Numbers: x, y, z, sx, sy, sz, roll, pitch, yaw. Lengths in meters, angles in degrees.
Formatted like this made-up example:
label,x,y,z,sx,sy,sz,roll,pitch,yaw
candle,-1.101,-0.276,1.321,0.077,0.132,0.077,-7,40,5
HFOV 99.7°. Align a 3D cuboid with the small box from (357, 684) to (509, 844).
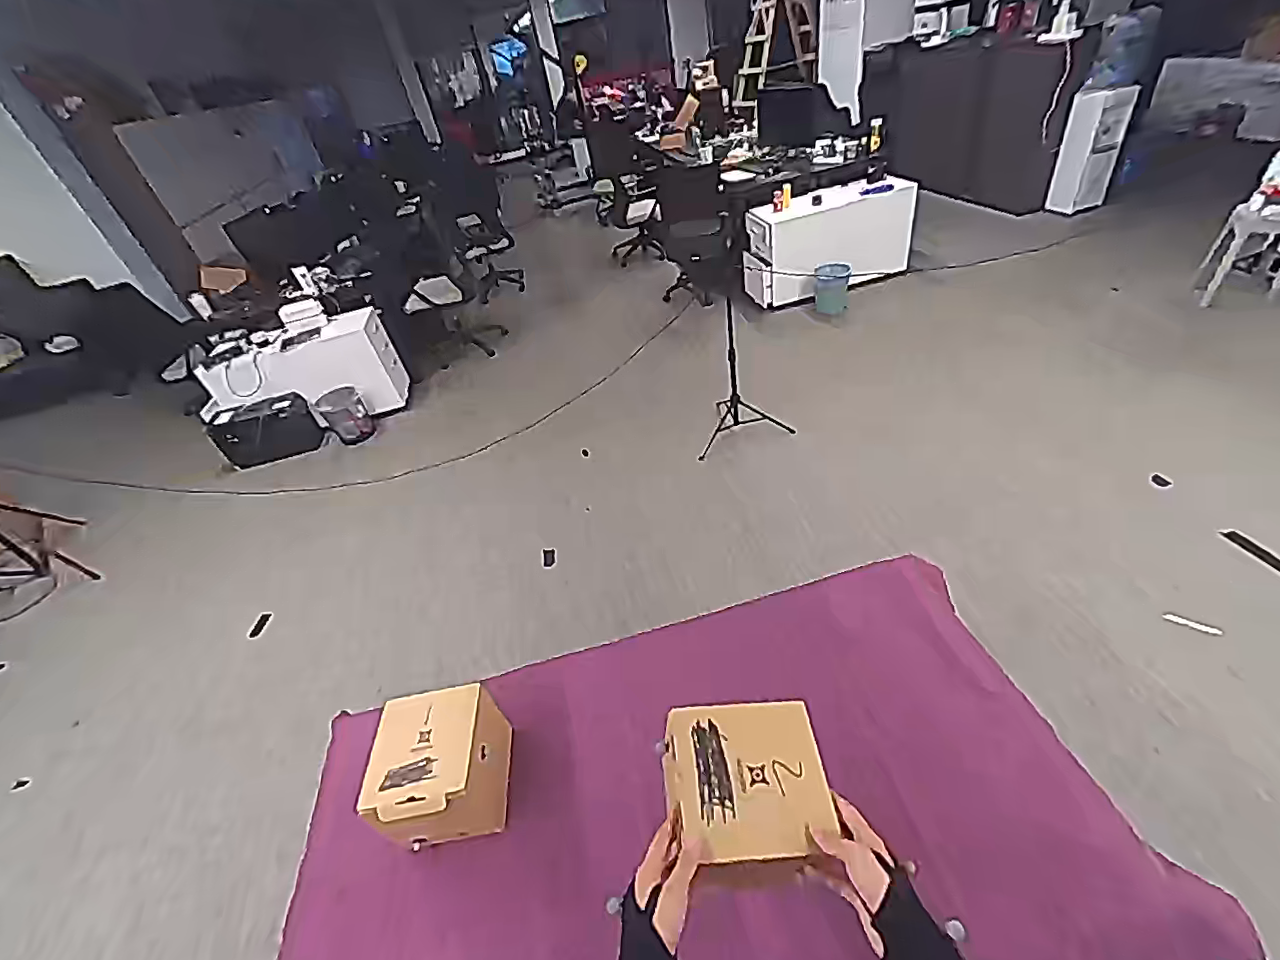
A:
label,x,y,z,sx,sy,sz,roll,pitch,yaw
small box,-0.323,0.471,0.888,0.168,0.176,0.179,-12,39,1
